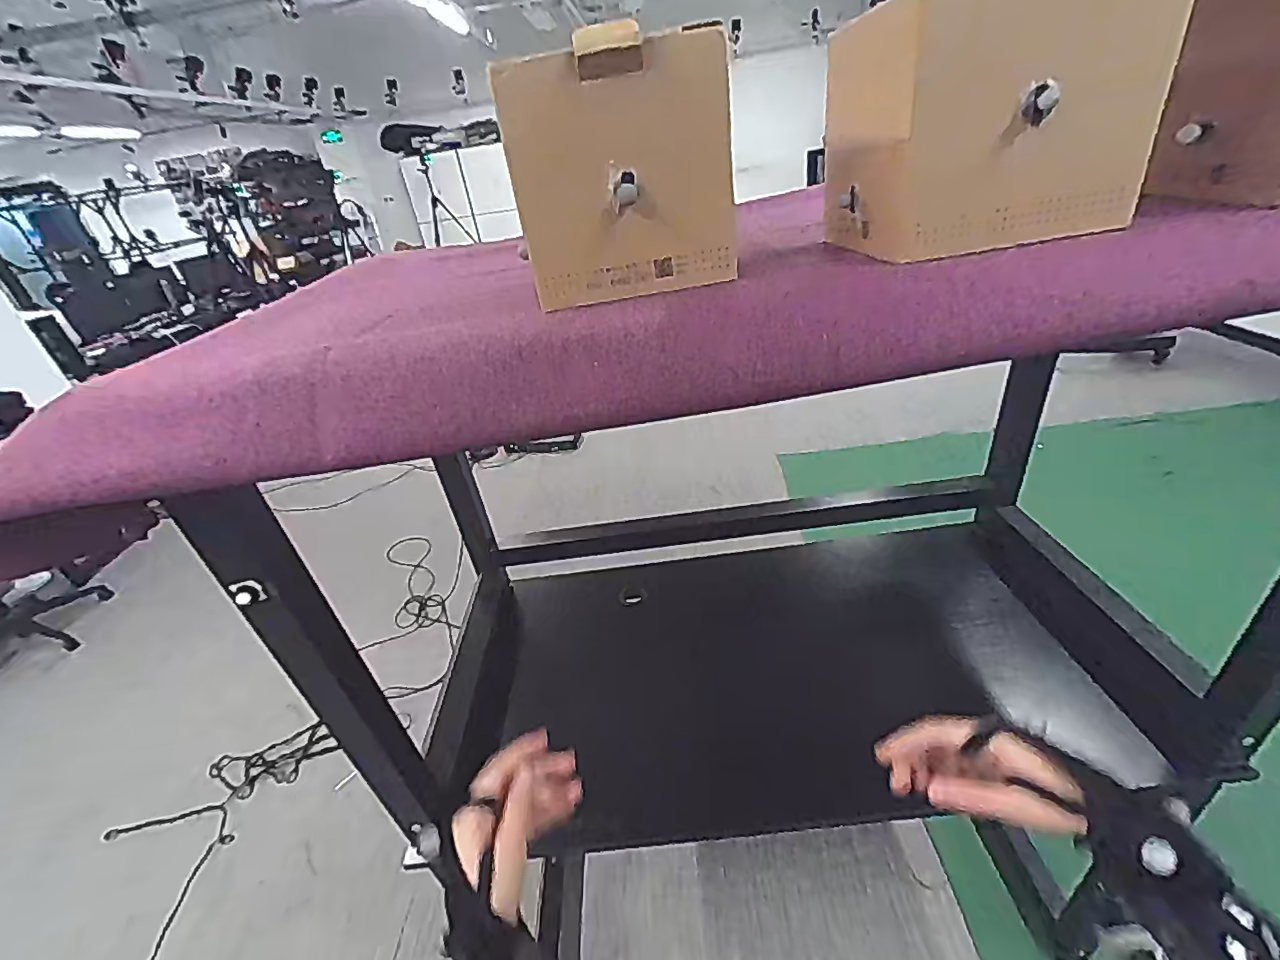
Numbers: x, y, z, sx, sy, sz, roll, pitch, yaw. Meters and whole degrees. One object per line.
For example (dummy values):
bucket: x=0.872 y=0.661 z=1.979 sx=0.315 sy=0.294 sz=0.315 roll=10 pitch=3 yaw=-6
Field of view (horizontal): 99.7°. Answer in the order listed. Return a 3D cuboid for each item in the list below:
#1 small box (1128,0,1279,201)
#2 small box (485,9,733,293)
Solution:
small box: x=0.539 y=-0.326 z=0.411 sx=0.179 sy=0.176 sz=0.168 roll=-8 pitch=31 yaw=5
small box: x=-0.019 y=-0.268 z=0.469 sx=0.168 sy=0.176 sz=0.179 roll=-9 pitch=31 yaw=0
